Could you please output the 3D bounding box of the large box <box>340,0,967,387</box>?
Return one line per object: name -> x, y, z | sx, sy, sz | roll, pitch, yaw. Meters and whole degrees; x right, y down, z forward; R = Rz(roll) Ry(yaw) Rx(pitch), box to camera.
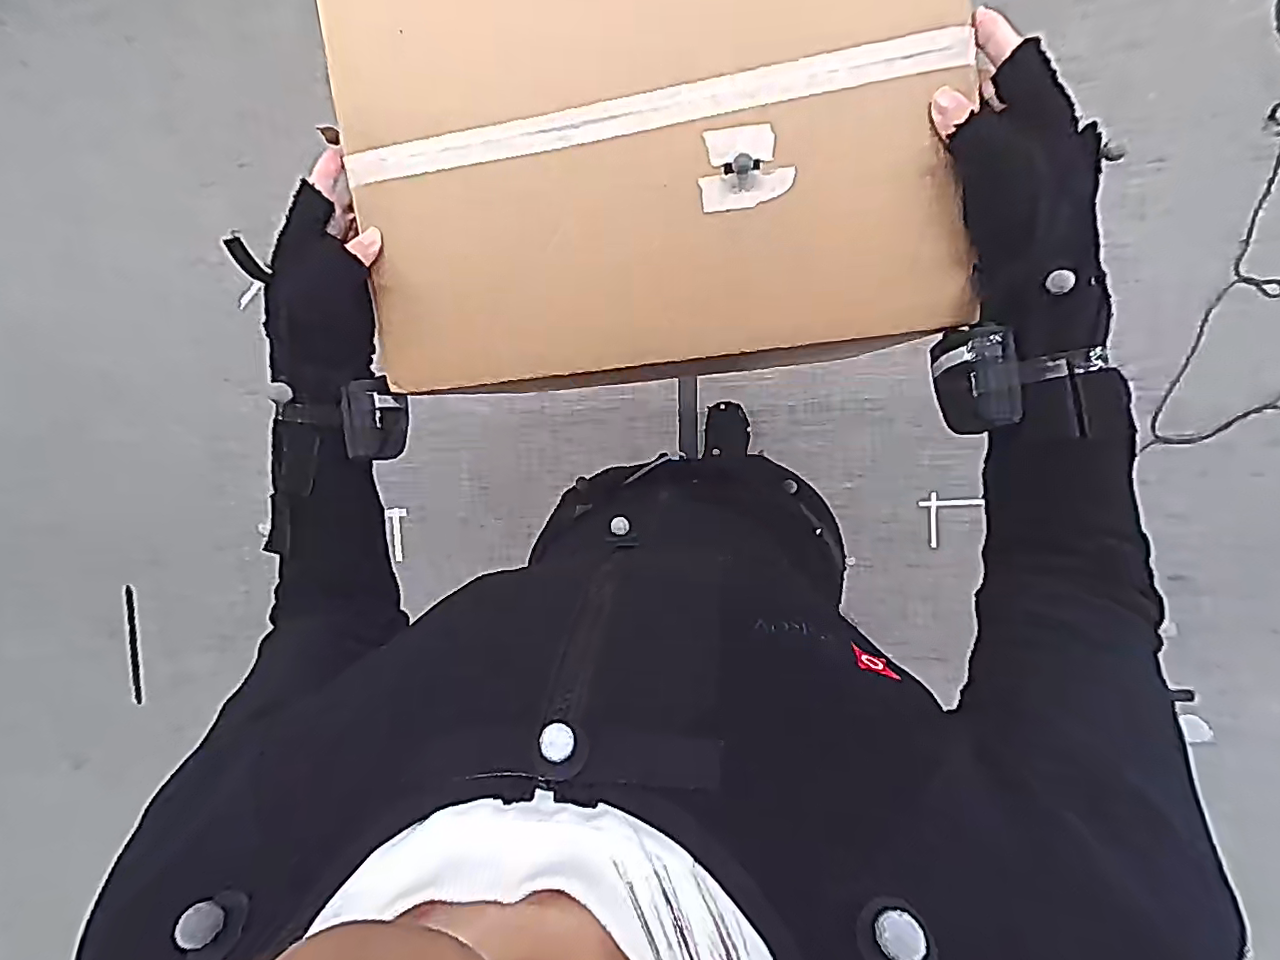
large box -> 0.018, -0.268, 0.506 | 0.408, 0.320, 0.320 | -5, 99, 8
